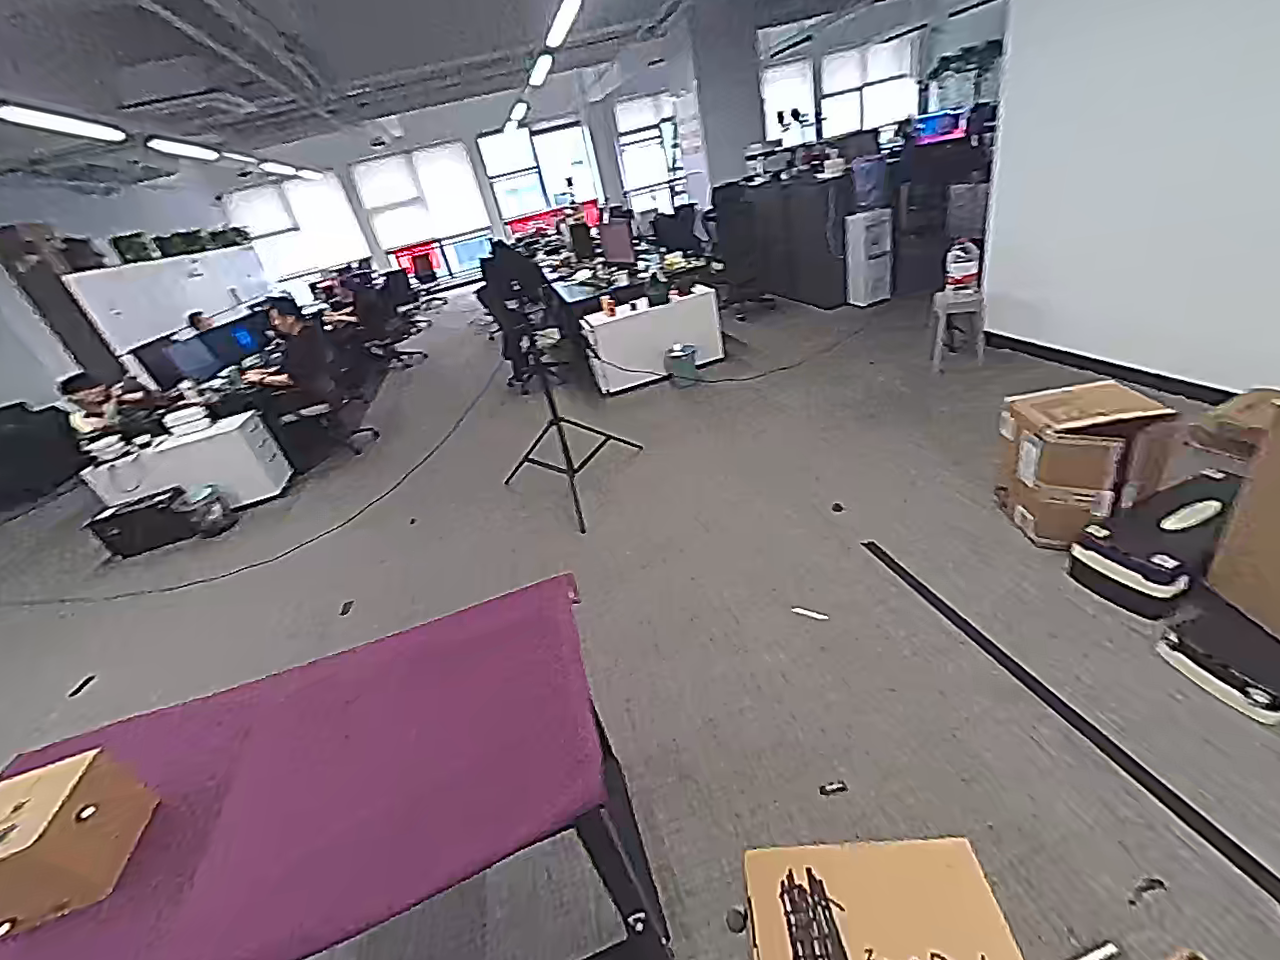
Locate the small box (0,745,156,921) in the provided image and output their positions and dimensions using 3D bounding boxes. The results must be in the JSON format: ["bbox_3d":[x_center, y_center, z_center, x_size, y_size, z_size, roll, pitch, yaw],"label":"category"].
[{"bbox_3d":[-0.986,0.599,0.915,0.168,0.176,0.179,-18,30,-8],"label":"small box"}]
